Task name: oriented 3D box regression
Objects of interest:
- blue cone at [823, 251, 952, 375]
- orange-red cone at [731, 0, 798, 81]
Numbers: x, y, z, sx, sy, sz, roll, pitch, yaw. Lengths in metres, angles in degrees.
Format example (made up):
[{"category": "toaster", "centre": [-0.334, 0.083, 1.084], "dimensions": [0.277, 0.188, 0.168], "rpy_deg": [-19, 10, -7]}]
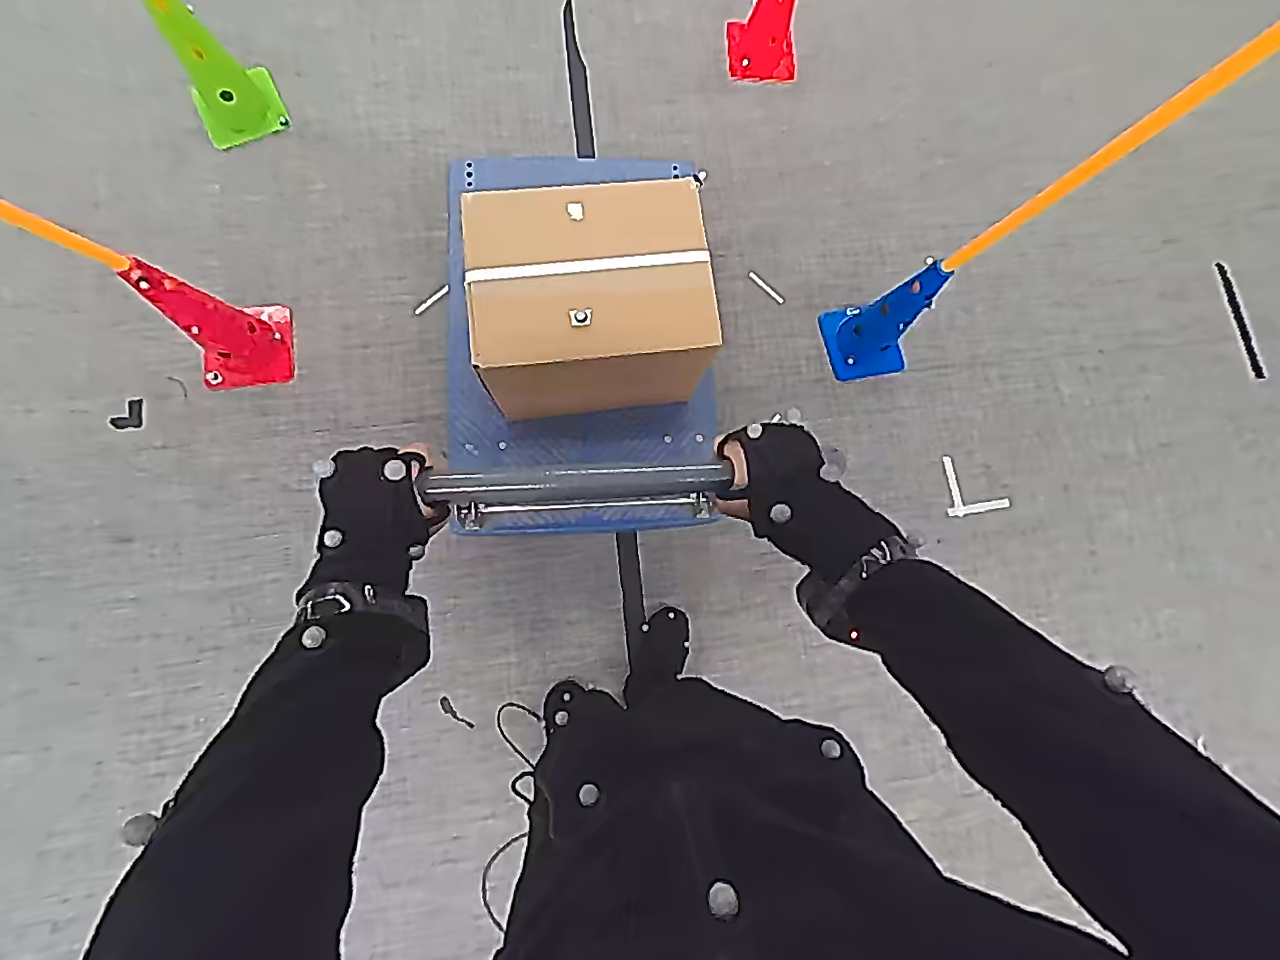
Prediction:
[{"category": "blue cone", "centre": [0.611, -0.407, 1.283], "dimensions": [0.193, 0.380, 0.192], "rpy_deg": [-10, 80, -7]}, {"category": "orange-red cone", "centre": [0.377, -1.280, 1.404], "dimensions": [0.199, 0.360, 0.198], "rpy_deg": [1, 81, -6]}]
